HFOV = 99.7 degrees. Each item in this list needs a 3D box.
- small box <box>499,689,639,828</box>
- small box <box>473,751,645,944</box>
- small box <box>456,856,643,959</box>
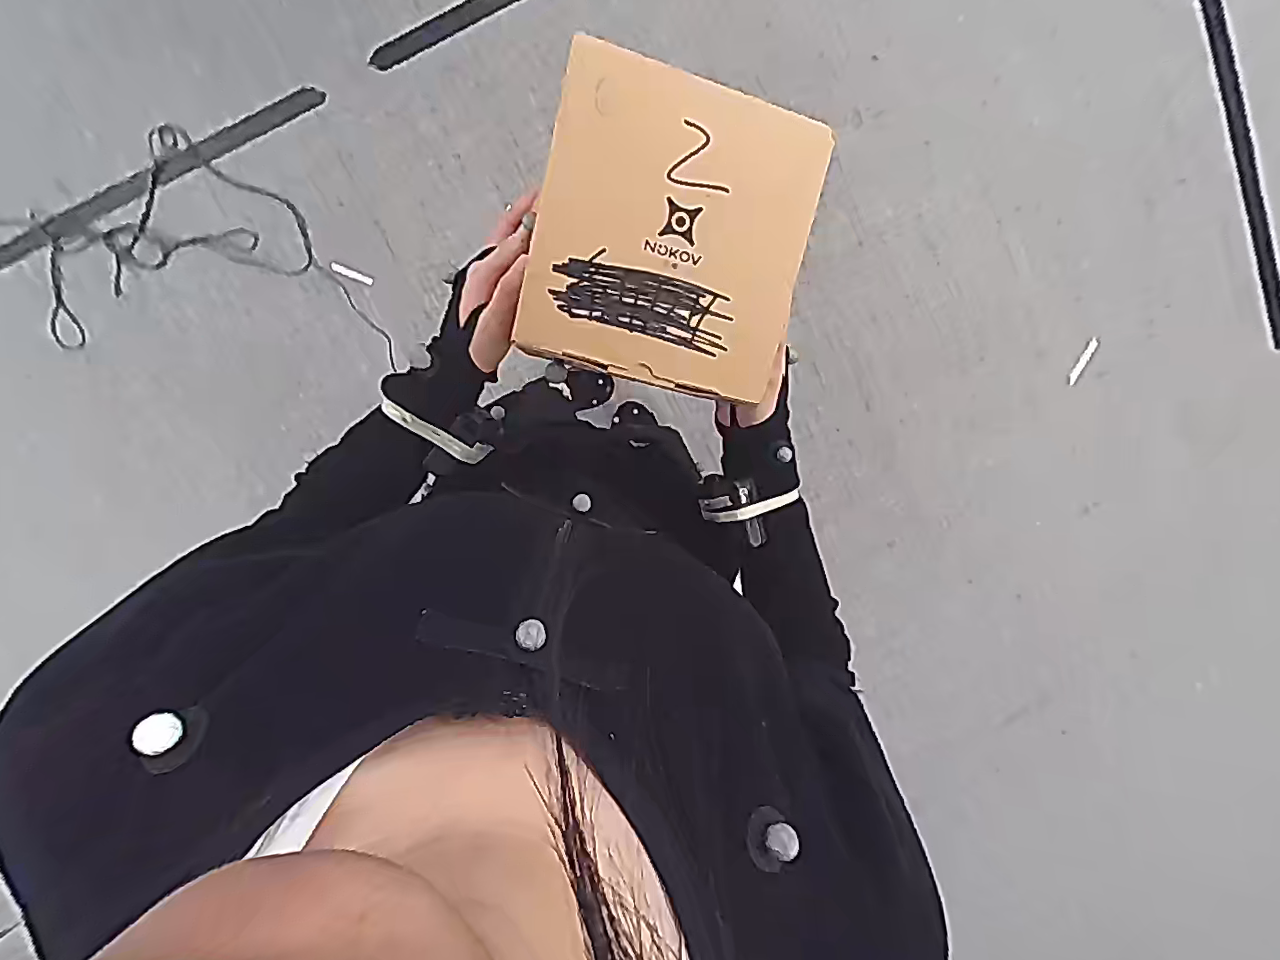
[{"bbox_3d":[-0.112,0.480,0.906,0.168,0.176,0.179,-23,101,3],"label":"small box"},{"bbox_3d":[-0.101,0.522,0.749,0.168,0.176,0.179,-23,102,2],"label":"small box"},{"bbox_3d":[-0.096,0.554,0.588,0.168,0.176,0.179,-22,104,1],"label":"small box"}]
